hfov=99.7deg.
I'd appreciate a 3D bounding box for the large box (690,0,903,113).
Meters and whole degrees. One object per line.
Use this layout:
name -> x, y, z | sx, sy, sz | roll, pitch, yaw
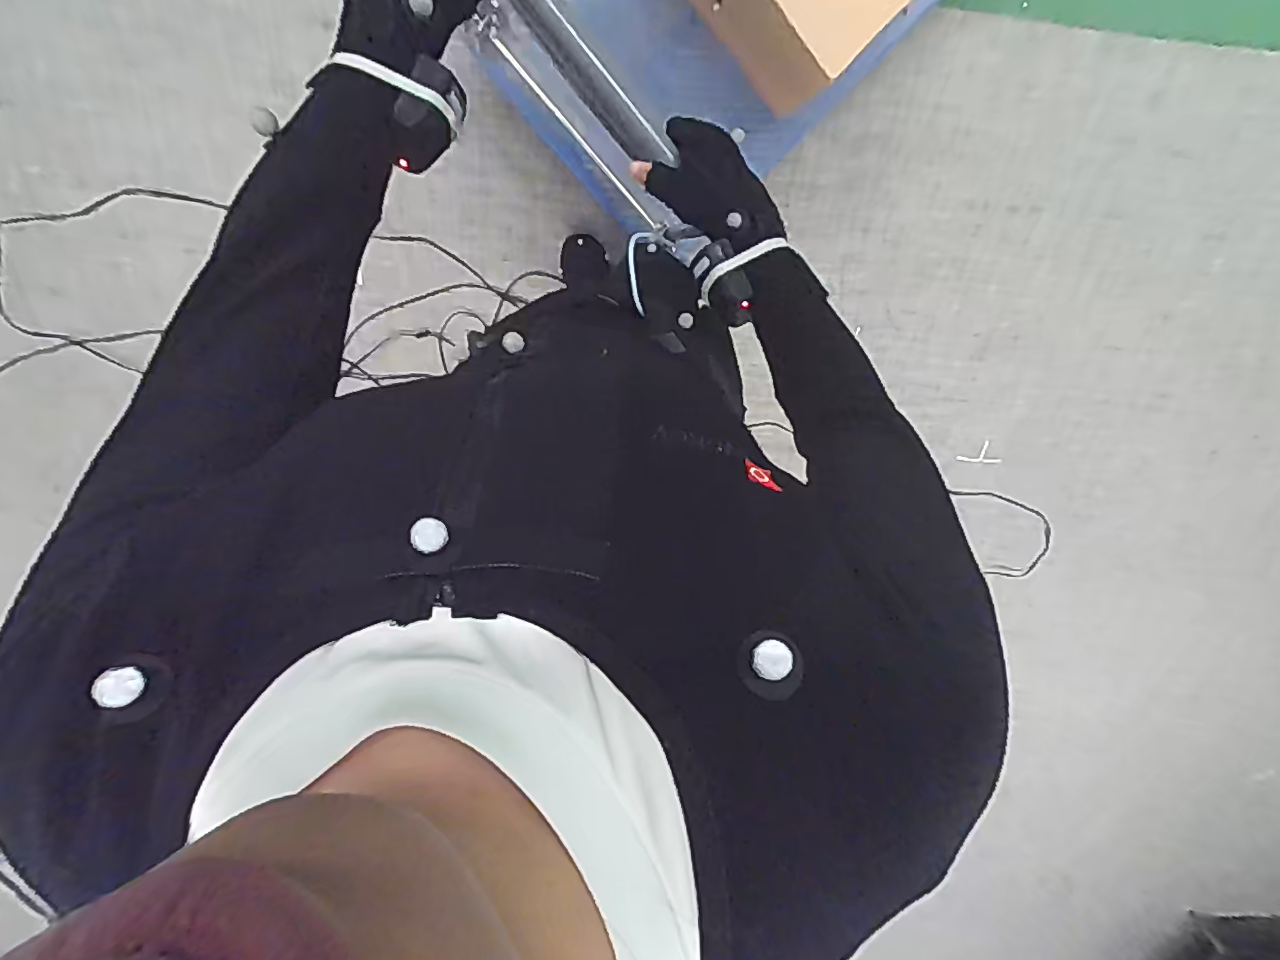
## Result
large box -> 0.236, -0.863, 0.810 | 0.408, 0.320, 0.320 | 41, 107, -18
